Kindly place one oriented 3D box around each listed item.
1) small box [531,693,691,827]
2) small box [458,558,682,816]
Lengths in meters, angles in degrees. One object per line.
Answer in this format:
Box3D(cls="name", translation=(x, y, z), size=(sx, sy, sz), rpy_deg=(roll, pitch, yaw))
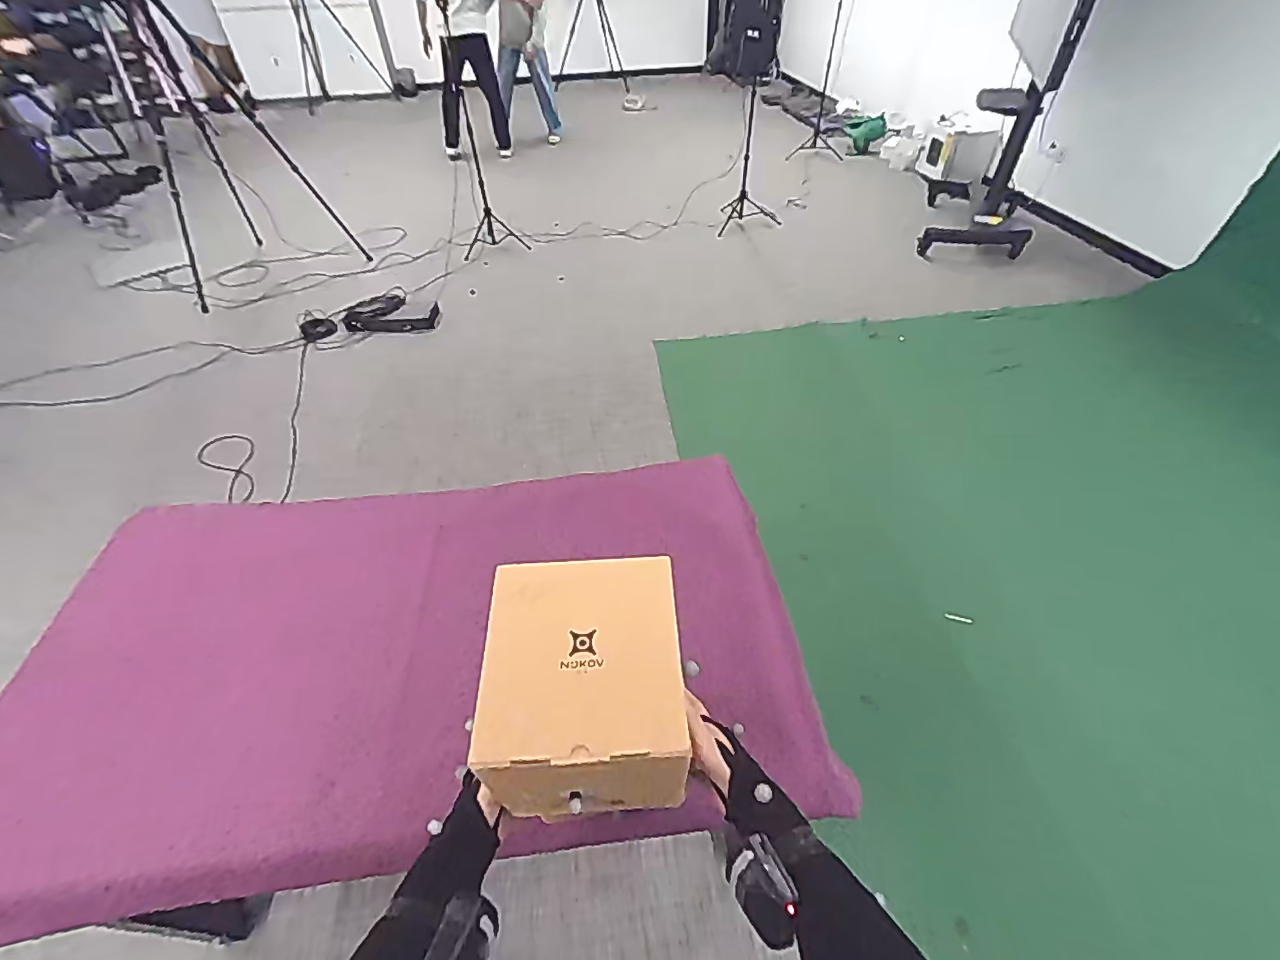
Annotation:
Box3D(cls="small box", translation=(-0.046, 0.289, 0.639), size=(0.179, 0.176, 0.168), rpy_deg=(-6, 47, -6))
Box3D(cls="small box", translation=(-0.054, 0.193, 0.506), size=(0.168, 0.176, 0.179), rpy_deg=(-3, 48, -1))
